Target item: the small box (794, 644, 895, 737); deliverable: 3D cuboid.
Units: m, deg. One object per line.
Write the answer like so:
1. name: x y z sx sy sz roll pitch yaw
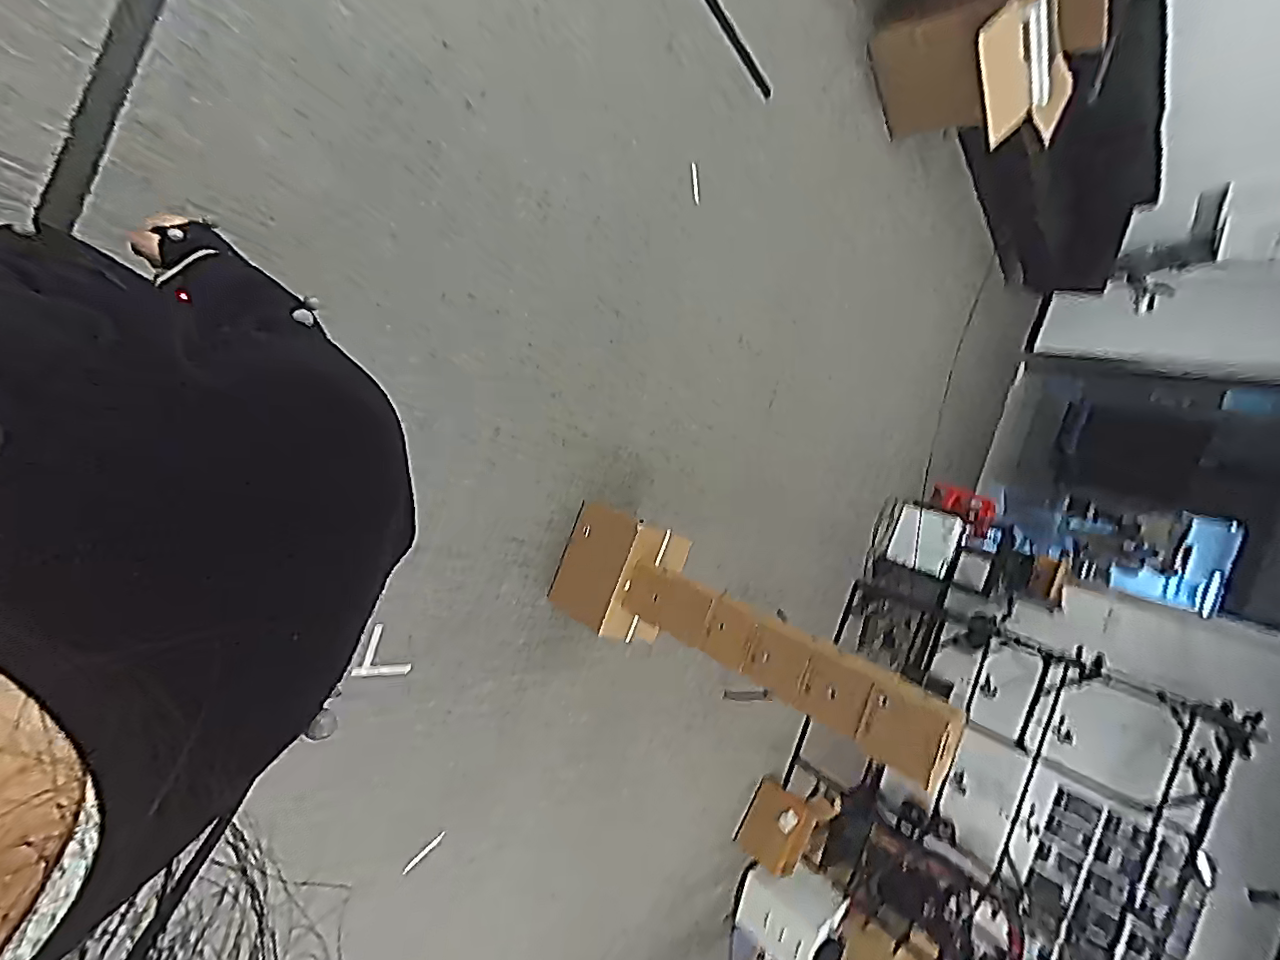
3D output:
1. small box: 0.527 0.538 1.404 0.179 0.176 0.168 18 92 -45

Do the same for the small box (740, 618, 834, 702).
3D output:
1. small box: 0.412 0.497 1.513 0.179 0.176 0.168 18 90 -46

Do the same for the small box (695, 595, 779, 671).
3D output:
1. small box: 0.297 0.457 1.624 0.179 0.176 0.168 20 90 -46

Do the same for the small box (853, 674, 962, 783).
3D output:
1. small box: 0.631 0.578 1.282 0.179 0.176 0.168 17 91 -46

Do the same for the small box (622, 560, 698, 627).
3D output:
1. small box: 0.063 0.384 1.840 0.168 0.176 0.179 19 91 -46
